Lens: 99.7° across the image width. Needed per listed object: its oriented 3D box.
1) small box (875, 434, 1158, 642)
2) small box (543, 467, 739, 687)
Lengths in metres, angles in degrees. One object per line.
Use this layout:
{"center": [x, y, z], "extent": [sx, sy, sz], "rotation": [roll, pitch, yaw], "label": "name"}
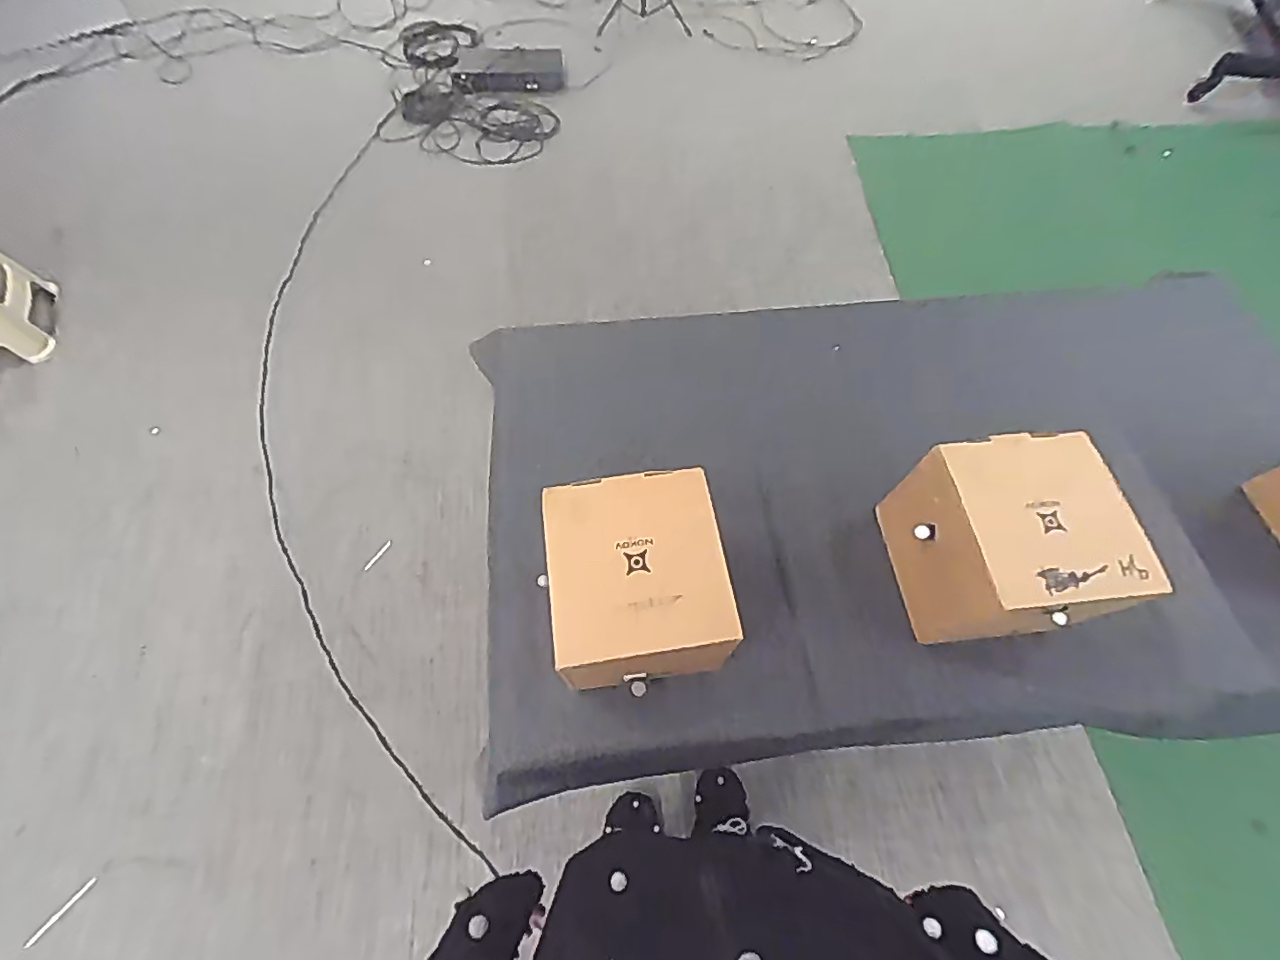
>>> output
{"center": [0.391, 0.070, 0.606], "extent": [0.168, 0.176, 0.179], "rotation": [-5, 62, -3], "label": "small box"}
{"center": [-0.006, 0.110, 0.579], "extent": [0.168, 0.176, 0.179], "rotation": [-9, 63, -4], "label": "small box"}
